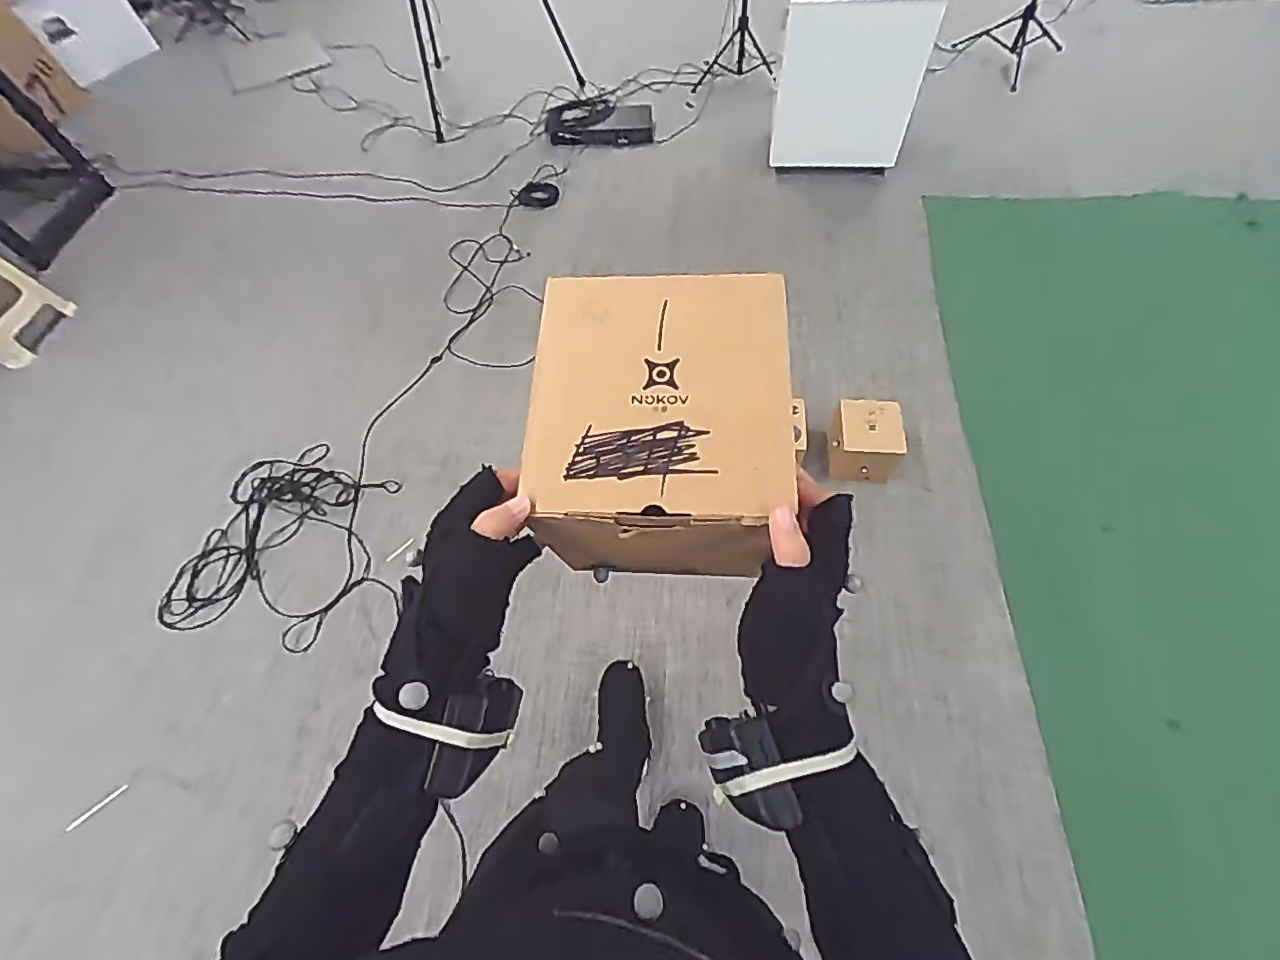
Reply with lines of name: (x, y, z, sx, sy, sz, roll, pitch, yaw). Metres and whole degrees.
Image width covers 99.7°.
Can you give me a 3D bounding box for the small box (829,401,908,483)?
small box: (0.650, -0.106, 1.553, 0.168, 0.176, 0.179, 3, 61, 6)
